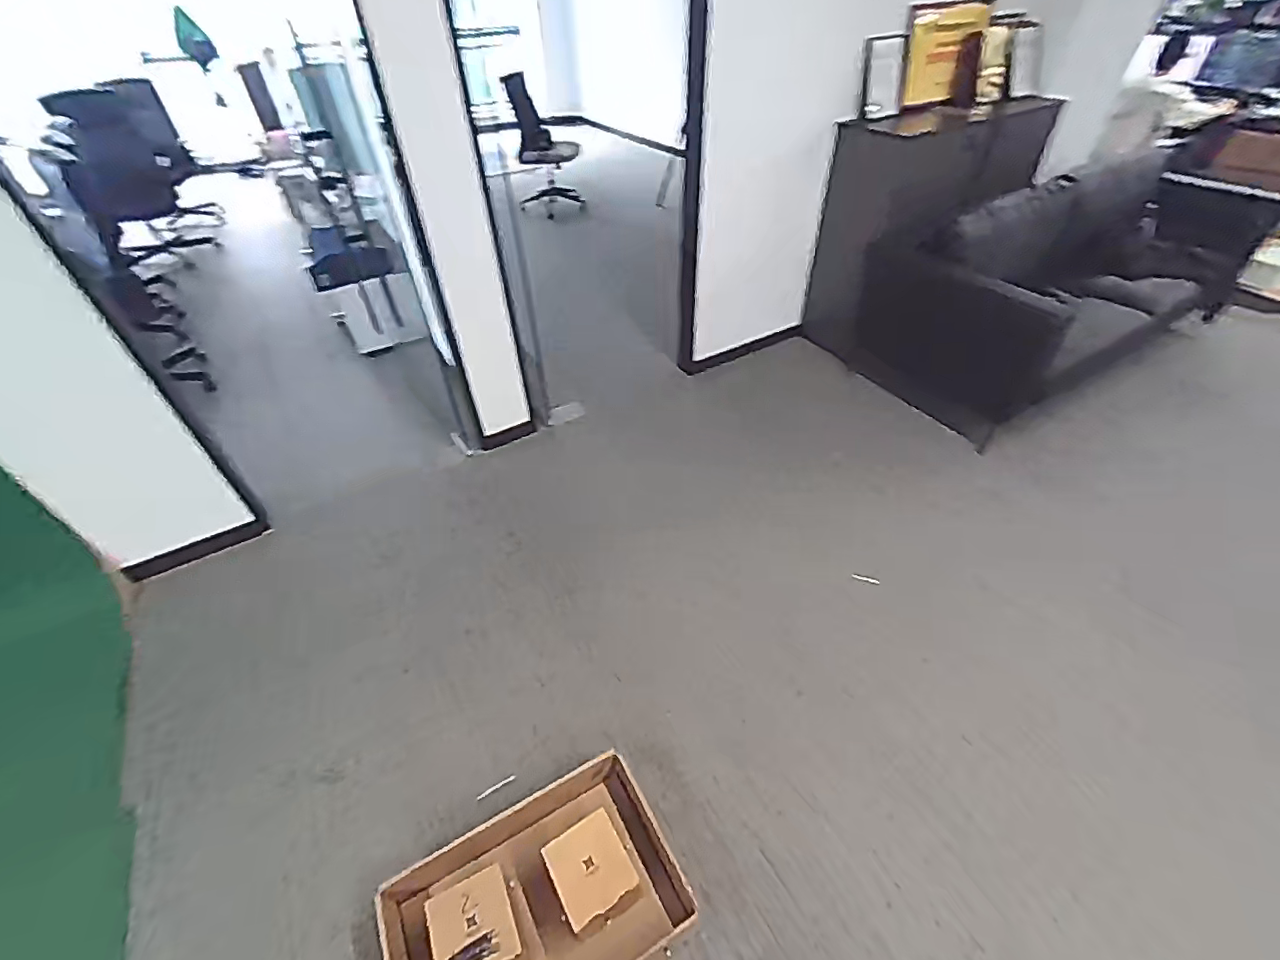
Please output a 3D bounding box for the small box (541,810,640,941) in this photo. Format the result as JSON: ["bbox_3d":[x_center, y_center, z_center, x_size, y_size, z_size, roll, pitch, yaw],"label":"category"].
[{"bbox_3d":[-0.112,0.916,1.252,0.168,0.176,0.179,-24,49,-22],"label":"small box"}]
